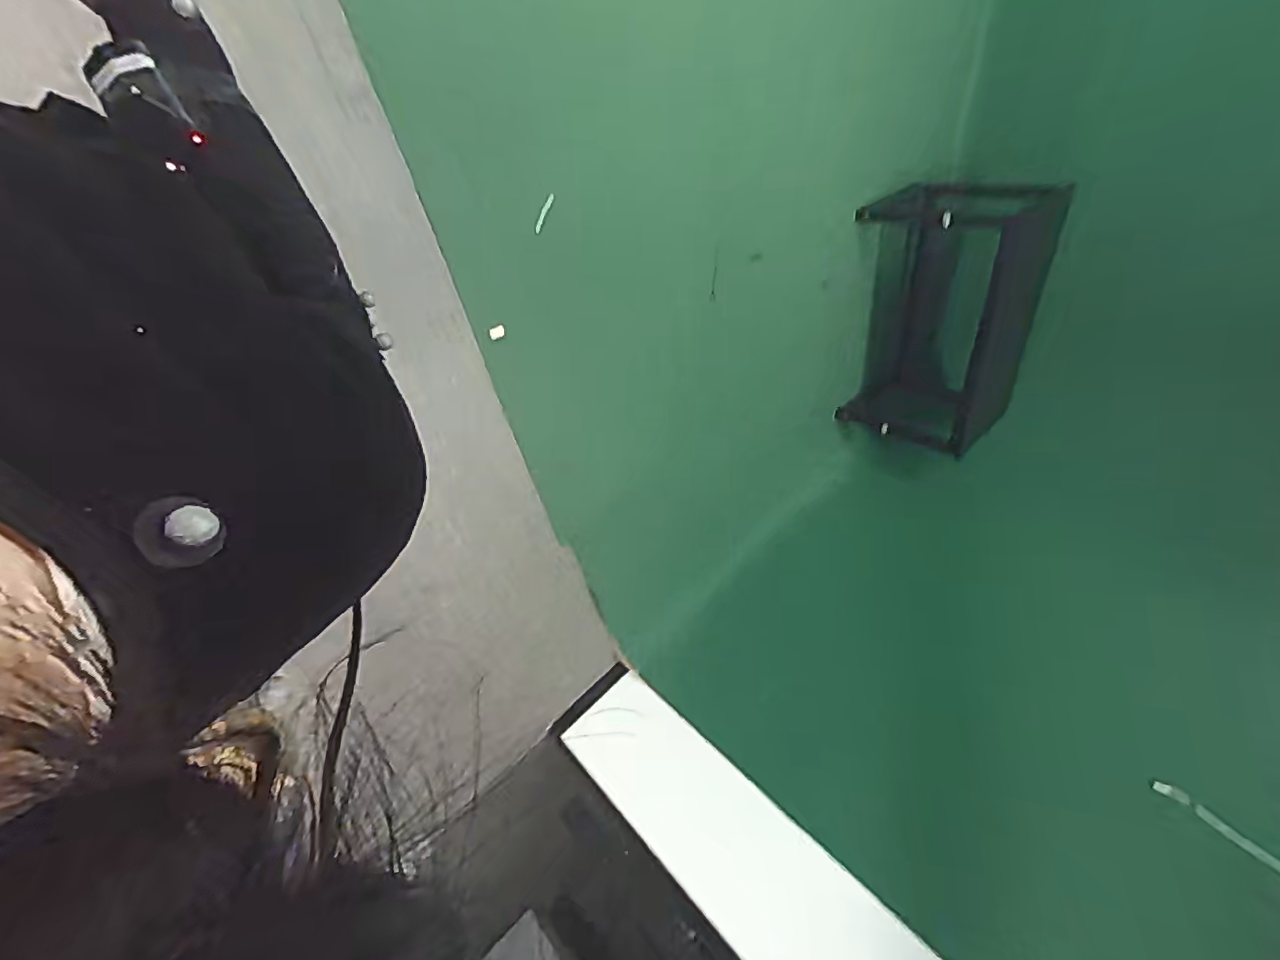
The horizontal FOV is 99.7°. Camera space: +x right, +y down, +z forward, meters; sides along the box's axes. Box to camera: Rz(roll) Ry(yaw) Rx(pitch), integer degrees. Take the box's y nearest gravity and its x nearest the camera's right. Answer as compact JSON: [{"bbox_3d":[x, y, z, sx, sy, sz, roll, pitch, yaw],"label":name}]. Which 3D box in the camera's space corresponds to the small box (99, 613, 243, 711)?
[{"bbox_3d":[-1.008,0.414,1.164,0.168,0.176,0.179,-38,135,-24],"label":"small box"}]

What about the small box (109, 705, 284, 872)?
[{"bbox_3d":[-0.782,0.538,0.959,0.168,0.176,0.179,-39,136,-25],"label":"small box"}]

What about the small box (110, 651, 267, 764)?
[{"bbox_3d":[-0.891,0.476,1.066,0.179,0.176,0.168,-37,135,-25],"label":"small box"}]
